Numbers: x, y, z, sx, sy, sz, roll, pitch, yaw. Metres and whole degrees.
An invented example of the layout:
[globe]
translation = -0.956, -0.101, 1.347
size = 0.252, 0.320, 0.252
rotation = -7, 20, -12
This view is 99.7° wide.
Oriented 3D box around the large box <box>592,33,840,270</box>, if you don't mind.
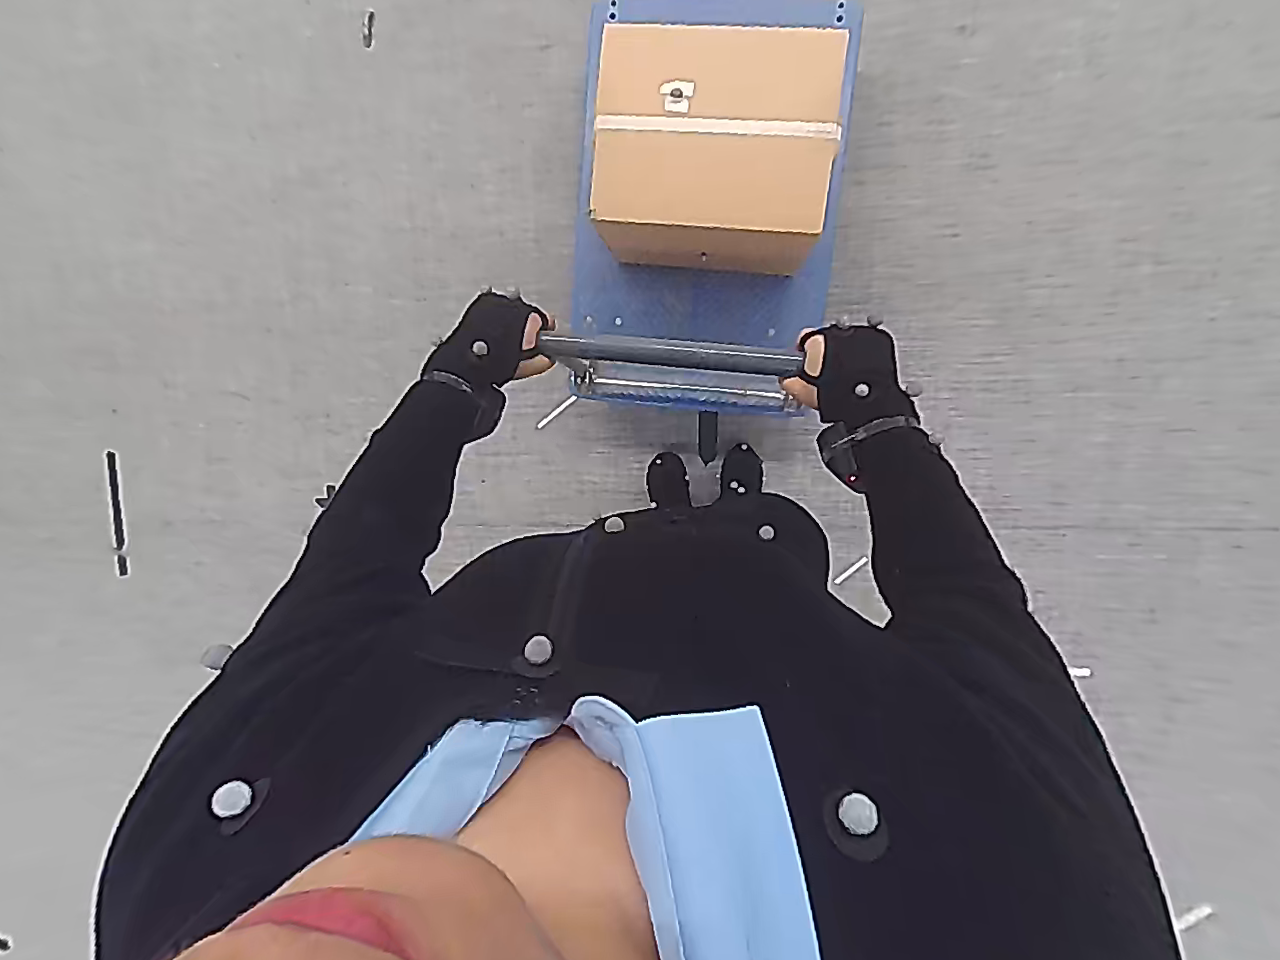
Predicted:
[large box]
translation = 0.143, -0.615, 1.070
size = 0.408, 0.320, 0.320
rotation = 6, 98, 7
